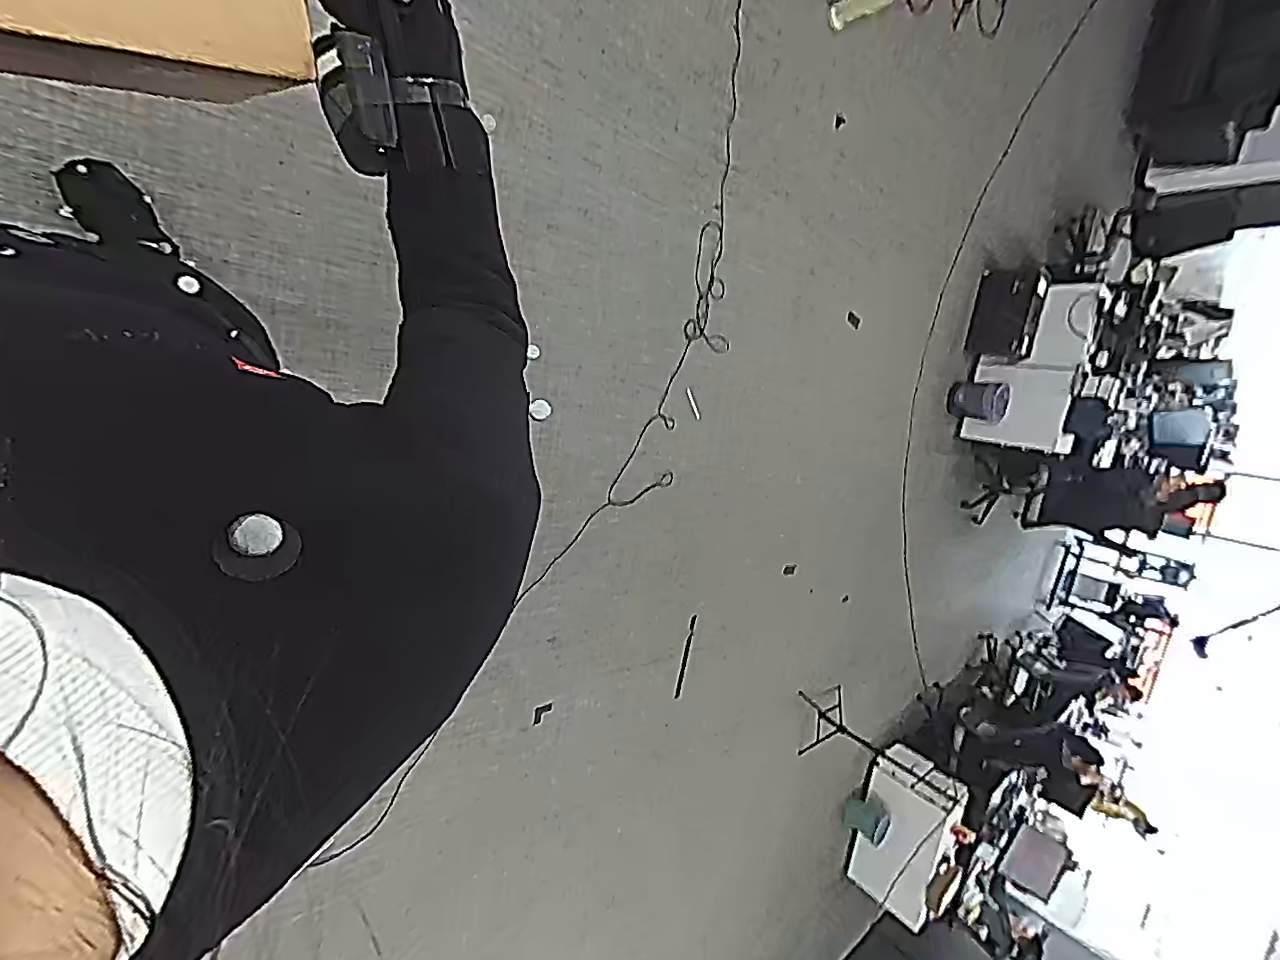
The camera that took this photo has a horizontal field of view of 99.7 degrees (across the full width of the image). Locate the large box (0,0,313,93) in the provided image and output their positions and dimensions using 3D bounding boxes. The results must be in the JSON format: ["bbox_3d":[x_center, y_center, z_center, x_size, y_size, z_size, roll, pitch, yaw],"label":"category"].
[{"bbox_3d":[-0.441,-0.393,0.242,0.408,0.320,0.320,-20,128,-37],"label":"large box"}]
